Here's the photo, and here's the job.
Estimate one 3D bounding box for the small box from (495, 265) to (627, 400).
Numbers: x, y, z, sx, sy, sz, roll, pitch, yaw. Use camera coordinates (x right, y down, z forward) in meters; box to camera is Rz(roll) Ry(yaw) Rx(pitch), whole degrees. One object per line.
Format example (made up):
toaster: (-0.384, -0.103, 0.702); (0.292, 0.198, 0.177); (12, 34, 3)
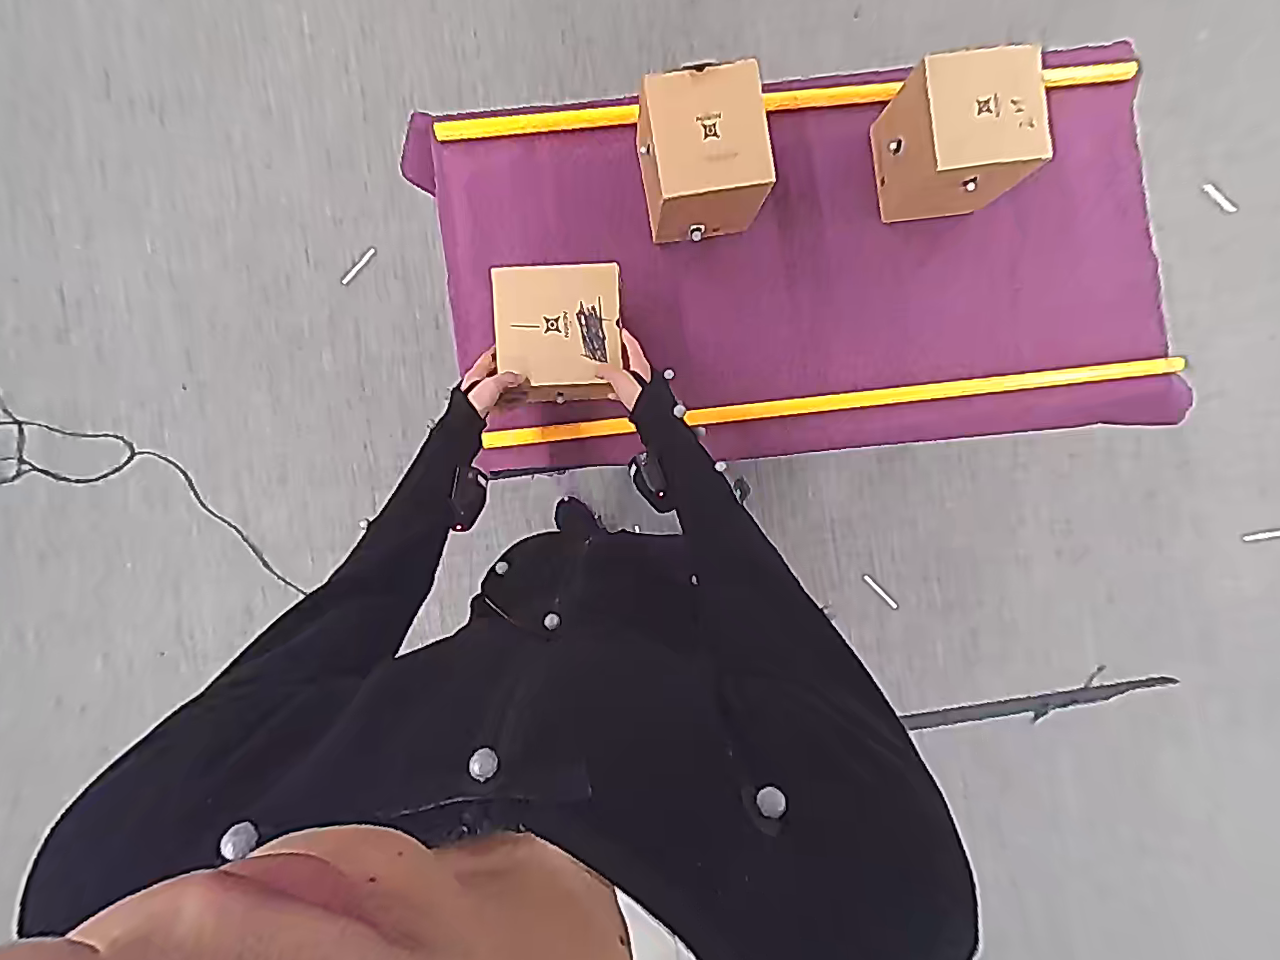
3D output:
small box: (-0.114, -0.214, 0.819); (0.179, 0.176, 0.168); (-3, 91, -3)

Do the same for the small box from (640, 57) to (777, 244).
small box: (0.095, -0.495, 0.834); (0.168, 0.176, 0.179); (-10, 91, -2)

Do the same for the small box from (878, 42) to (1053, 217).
small box: (0.494, -0.536, 0.851); (0.179, 0.176, 0.168); (-8, 92, -3)
